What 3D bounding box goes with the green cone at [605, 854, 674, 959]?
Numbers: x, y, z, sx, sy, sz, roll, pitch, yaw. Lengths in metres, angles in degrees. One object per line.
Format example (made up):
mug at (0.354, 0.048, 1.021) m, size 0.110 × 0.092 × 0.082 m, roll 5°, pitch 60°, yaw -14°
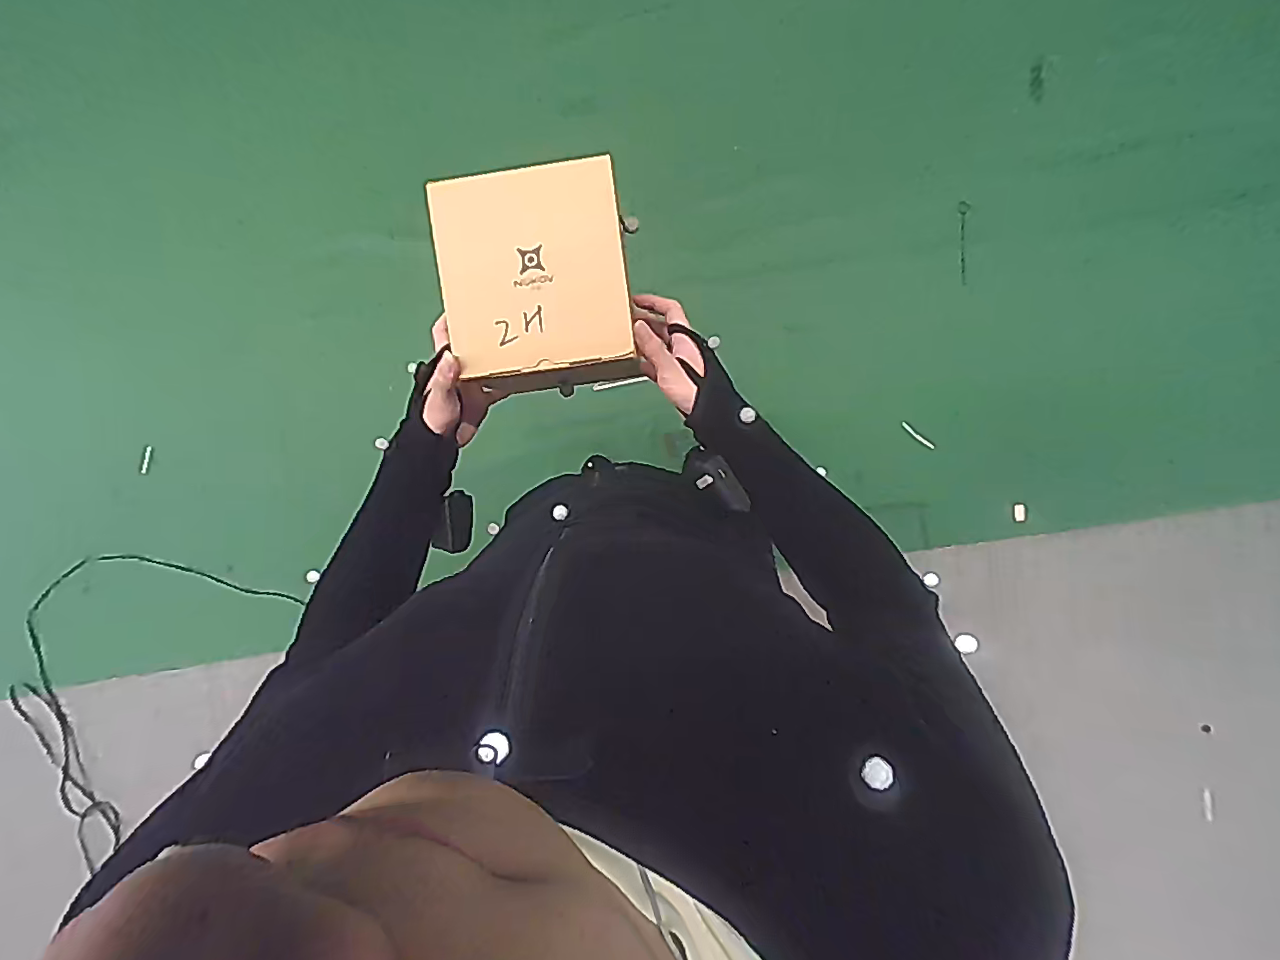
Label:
green cone at (-0.013, 1.305, 1.556) m, size 0.202 × 0.368 × 0.200 m, roll -10°, pitch 93°, yaw 4°
